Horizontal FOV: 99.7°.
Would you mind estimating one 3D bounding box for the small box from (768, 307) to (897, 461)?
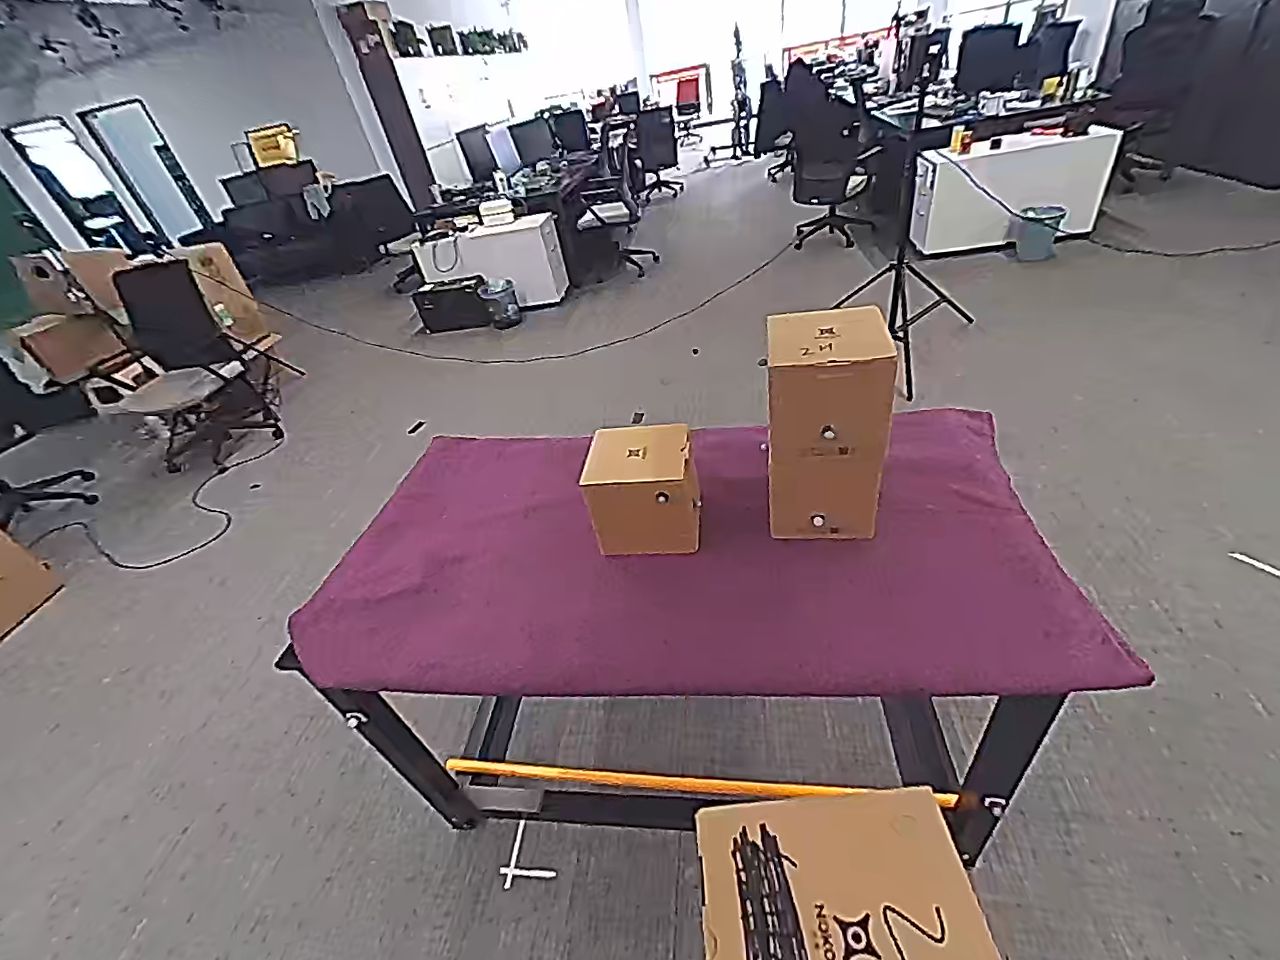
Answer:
[{"bbox_3d":[0.281,-0.146,0.826,0.168,0.176,0.179,-2,39,14],"label":"small box"}]

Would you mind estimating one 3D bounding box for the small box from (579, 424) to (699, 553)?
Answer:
[{"bbox_3d":[0.008,0.018,0.967,0.179,0.176,0.168,-3,38,11],"label":"small box"}]

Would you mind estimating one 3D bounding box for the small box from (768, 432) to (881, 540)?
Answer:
[{"bbox_3d":[0.306,-0.018,0.928,0.168,0.176,0.179,-1,39,14],"label":"small box"}]
